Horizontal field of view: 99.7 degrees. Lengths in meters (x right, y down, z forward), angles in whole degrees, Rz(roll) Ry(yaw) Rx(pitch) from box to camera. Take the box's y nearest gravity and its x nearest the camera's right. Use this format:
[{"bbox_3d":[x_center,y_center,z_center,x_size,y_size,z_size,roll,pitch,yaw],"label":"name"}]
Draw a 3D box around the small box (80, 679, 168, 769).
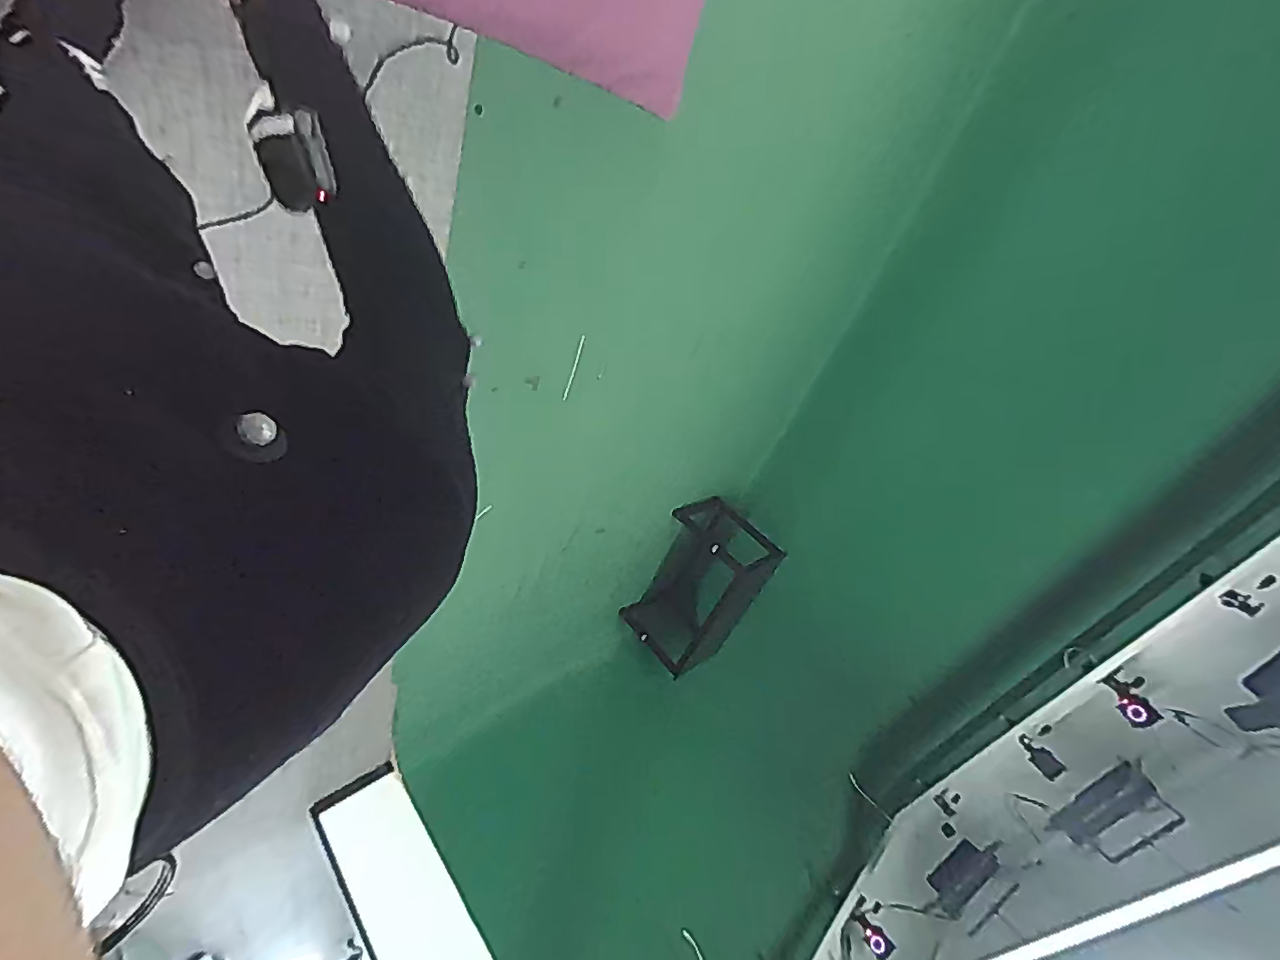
[{"bbox_3d":[-1.711,0.803,1.791,0.179,0.176,0.168,-20,142,-41],"label":"small box"}]
